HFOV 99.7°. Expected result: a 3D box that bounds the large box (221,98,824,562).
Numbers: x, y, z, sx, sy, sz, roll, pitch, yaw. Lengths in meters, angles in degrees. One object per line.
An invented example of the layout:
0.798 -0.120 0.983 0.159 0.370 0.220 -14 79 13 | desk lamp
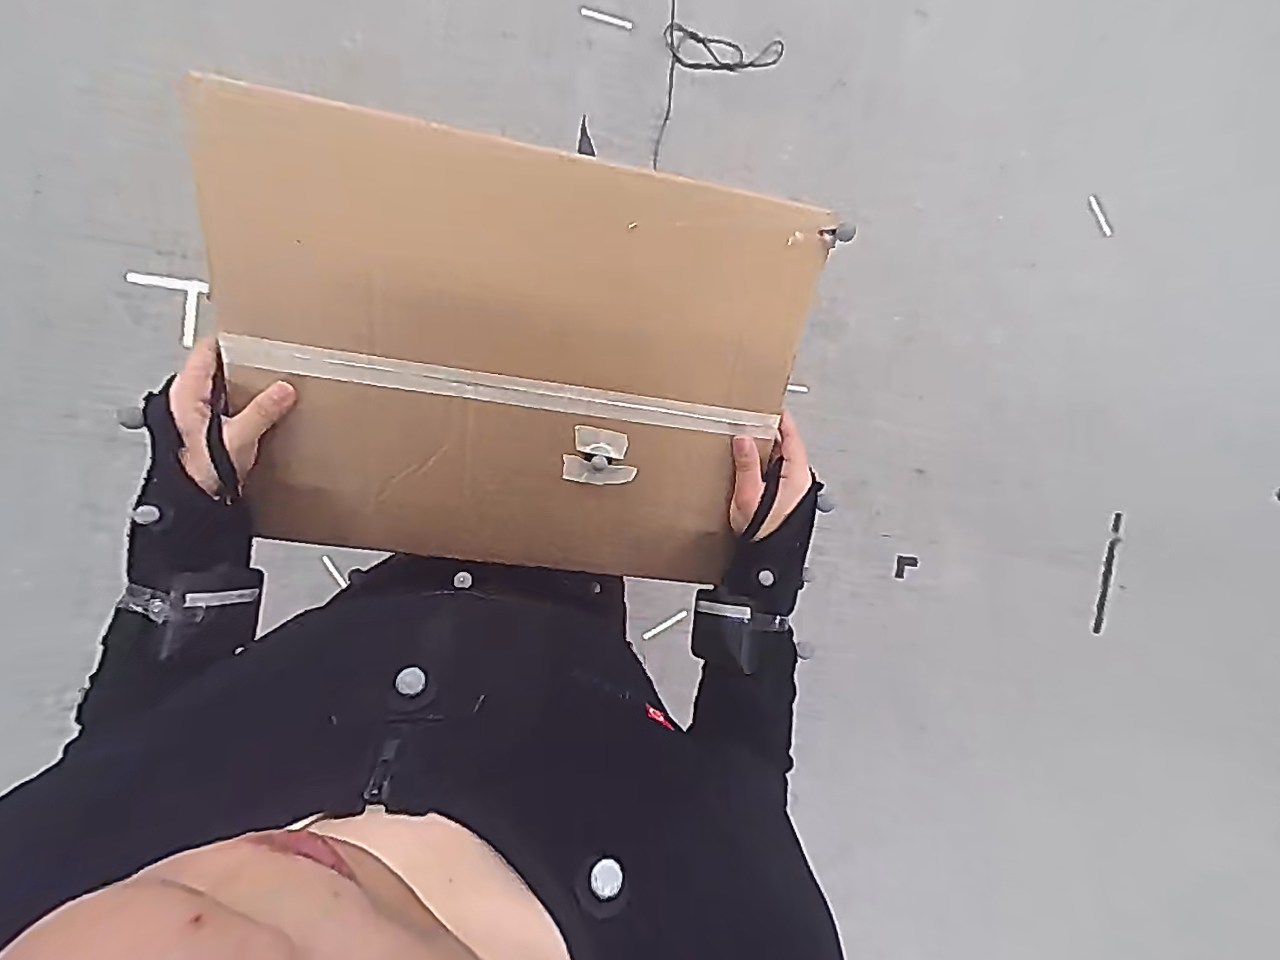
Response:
-0.101 -0.140 0.552 0.408 0.320 0.320 6 116 -10 | large box
